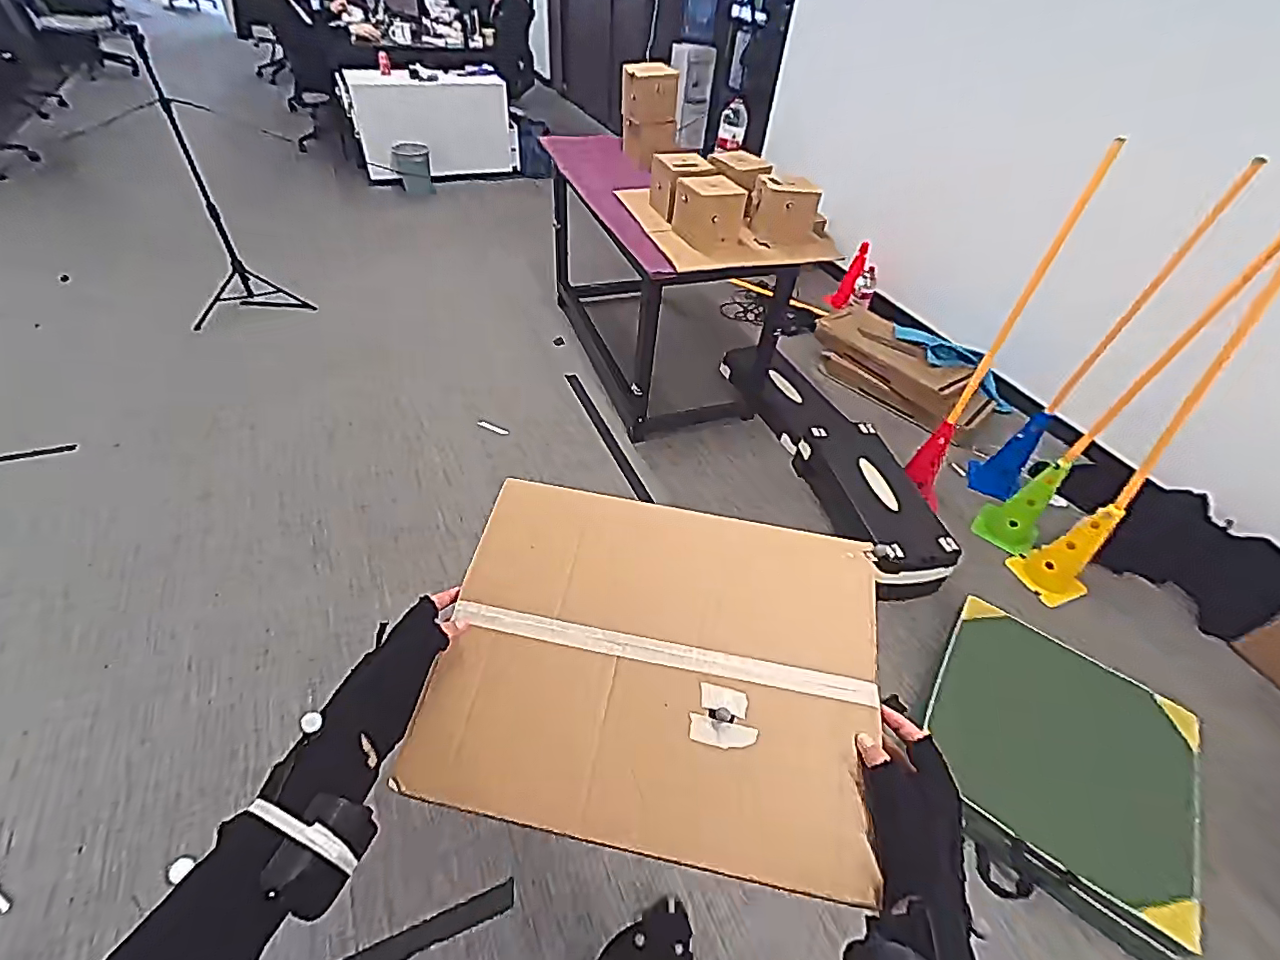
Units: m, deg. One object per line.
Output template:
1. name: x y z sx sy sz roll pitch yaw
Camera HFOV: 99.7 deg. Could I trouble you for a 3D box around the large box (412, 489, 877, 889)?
1. large box: 0.019 0.247 0.652 0.408 0.320 0.320 11 59 5
